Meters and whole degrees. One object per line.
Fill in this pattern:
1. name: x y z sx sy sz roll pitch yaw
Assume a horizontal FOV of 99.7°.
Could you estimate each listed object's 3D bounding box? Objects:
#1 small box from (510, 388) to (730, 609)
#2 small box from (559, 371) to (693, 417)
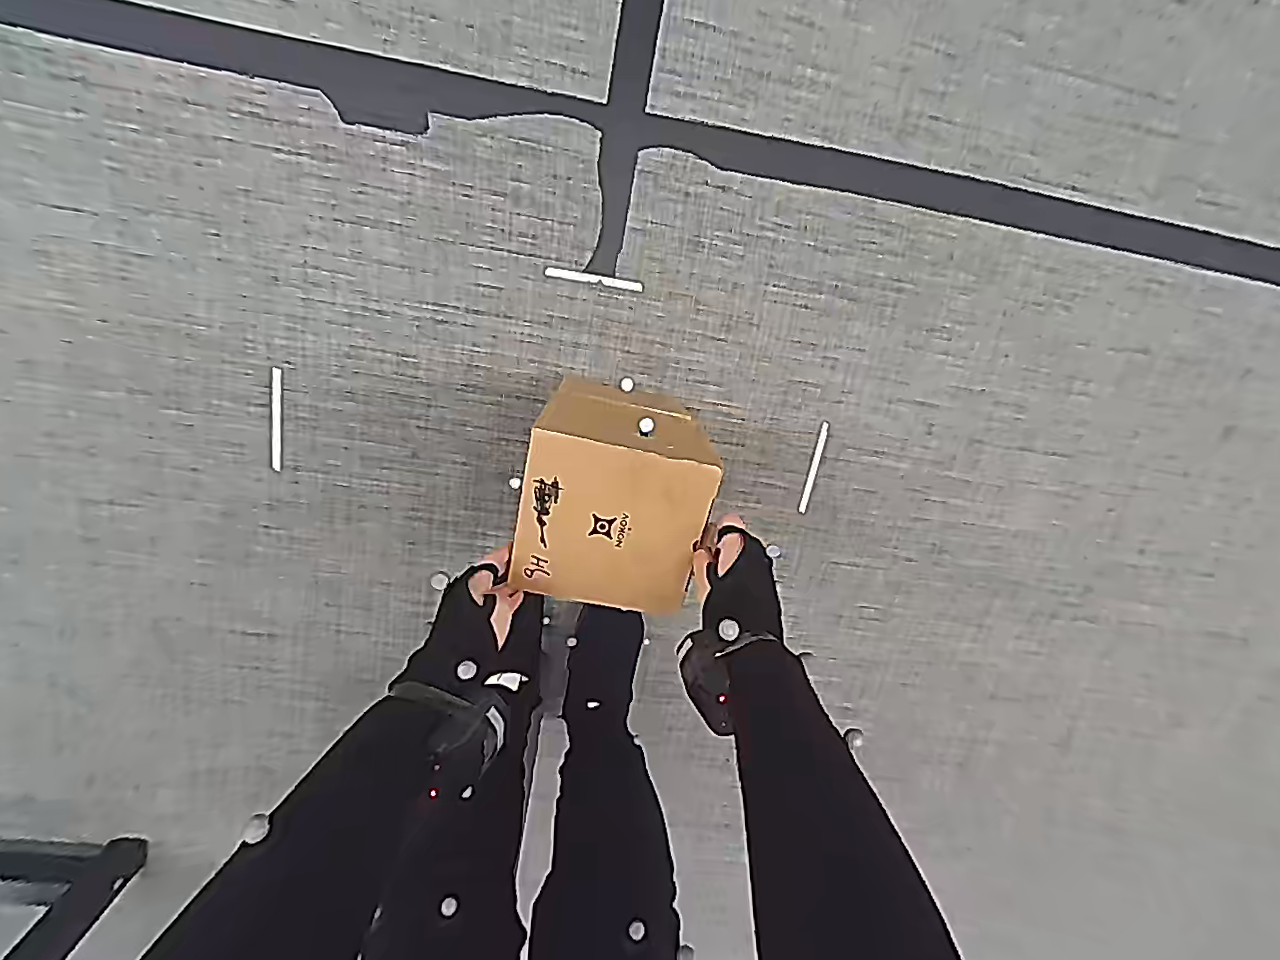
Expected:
1. small box: -0.026 0.010 0.573 0.179 0.176 0.168 12 109 -7
2. small box: -0.039 -0.040 0.737 0.168 0.176 0.179 11 105 -9
